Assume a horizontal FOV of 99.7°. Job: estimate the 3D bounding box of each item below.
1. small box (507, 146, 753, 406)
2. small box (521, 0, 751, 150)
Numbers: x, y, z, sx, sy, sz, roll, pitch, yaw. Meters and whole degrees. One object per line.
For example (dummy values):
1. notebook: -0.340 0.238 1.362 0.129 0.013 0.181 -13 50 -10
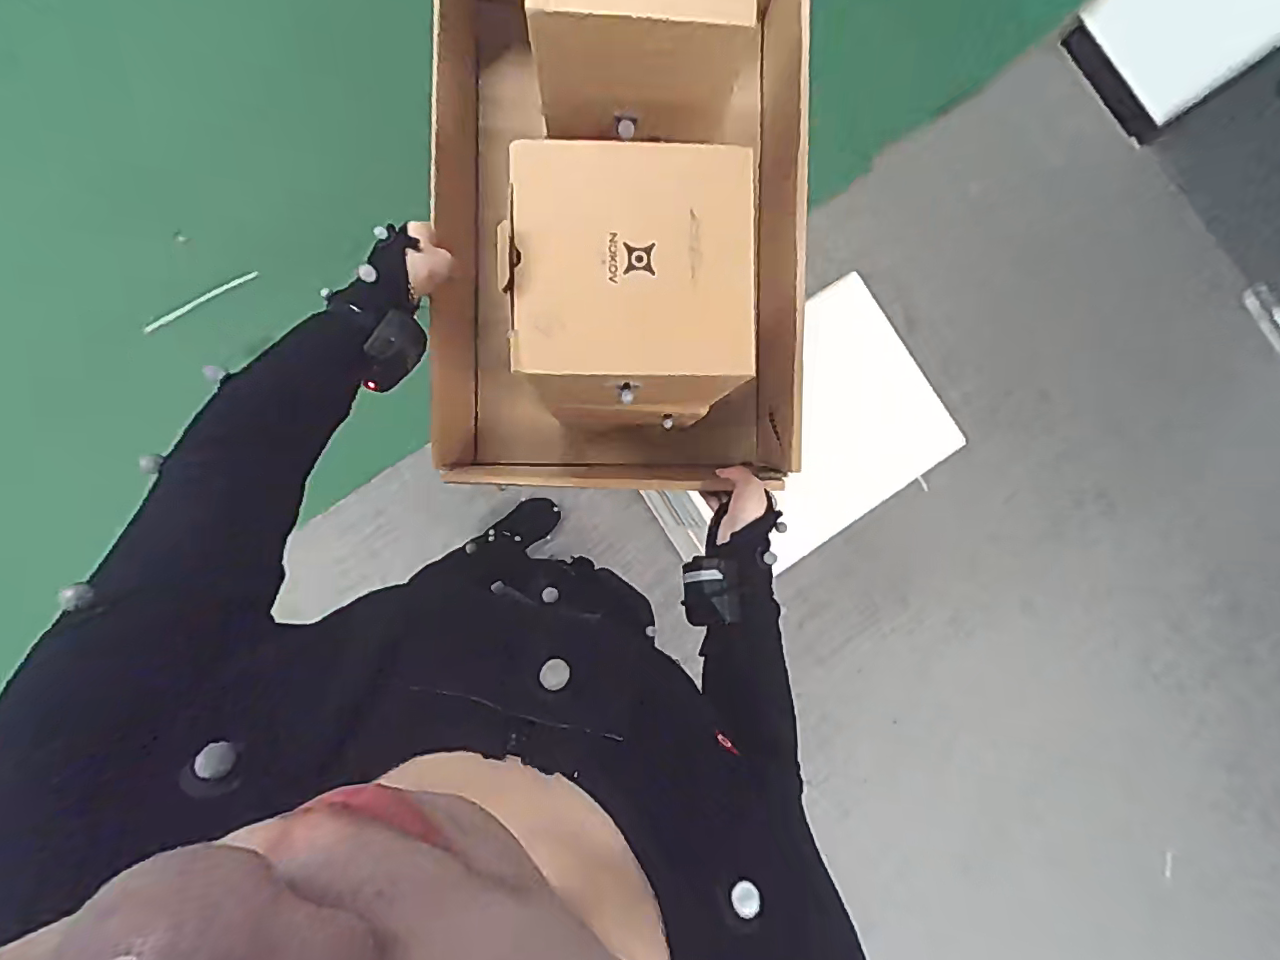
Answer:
1. small box: -0.010 -0.156 0.466 0.179 0.176 0.168 -2 91 -4
2. small box: -0.006 -0.409 0.459 0.168 0.176 0.179 1 93 -3
